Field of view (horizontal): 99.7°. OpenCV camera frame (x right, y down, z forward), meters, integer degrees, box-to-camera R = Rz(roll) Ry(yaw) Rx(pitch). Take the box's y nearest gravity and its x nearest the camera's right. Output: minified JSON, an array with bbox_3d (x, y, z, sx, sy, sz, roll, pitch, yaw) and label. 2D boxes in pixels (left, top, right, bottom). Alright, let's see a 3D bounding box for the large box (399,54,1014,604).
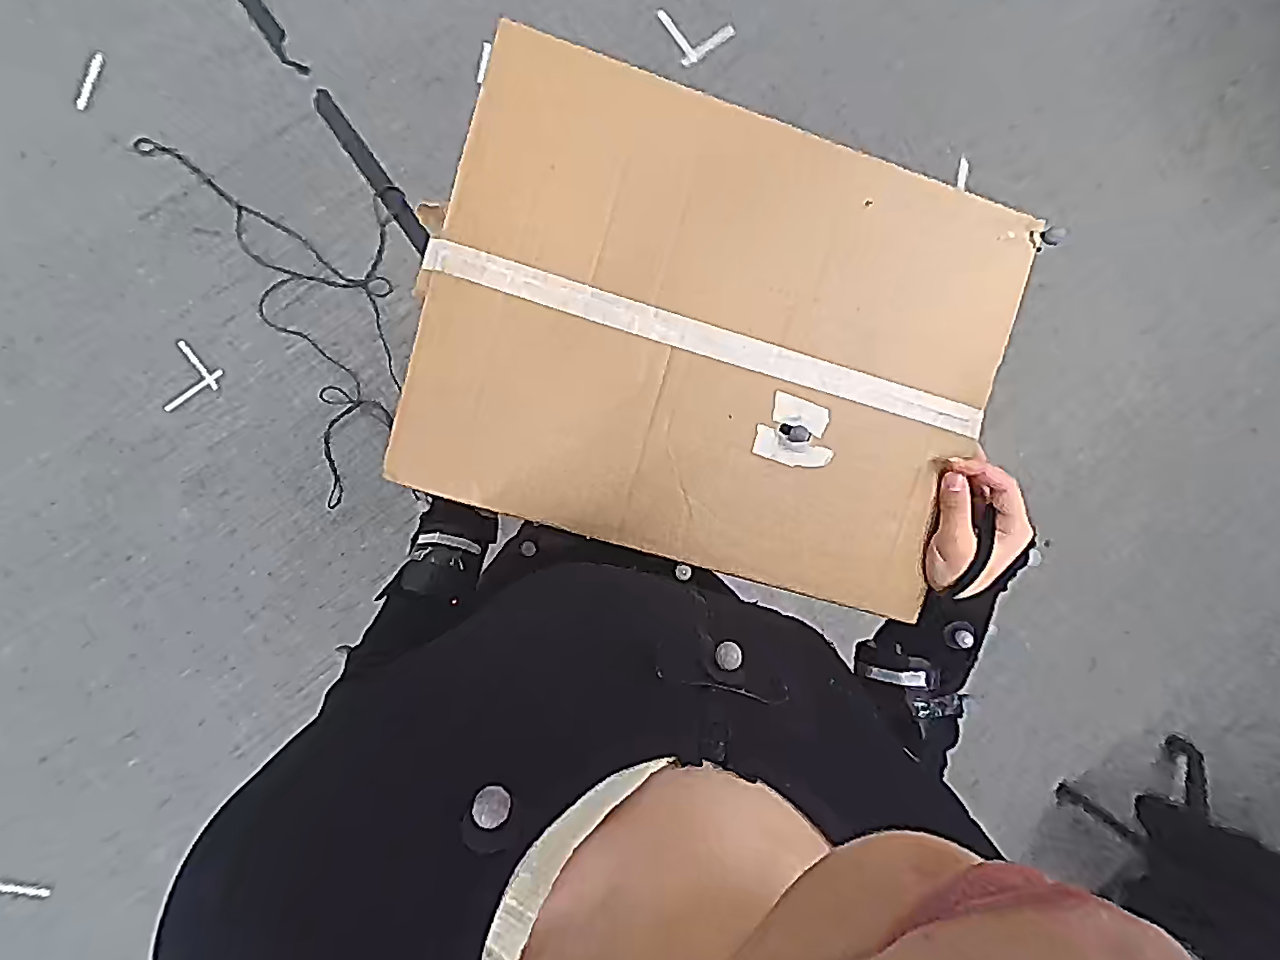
[{"bbox_3d":[0.040,-0.106,0.538,0.408,0.320,0.320,15,94,-7],"label":"large box"}]
